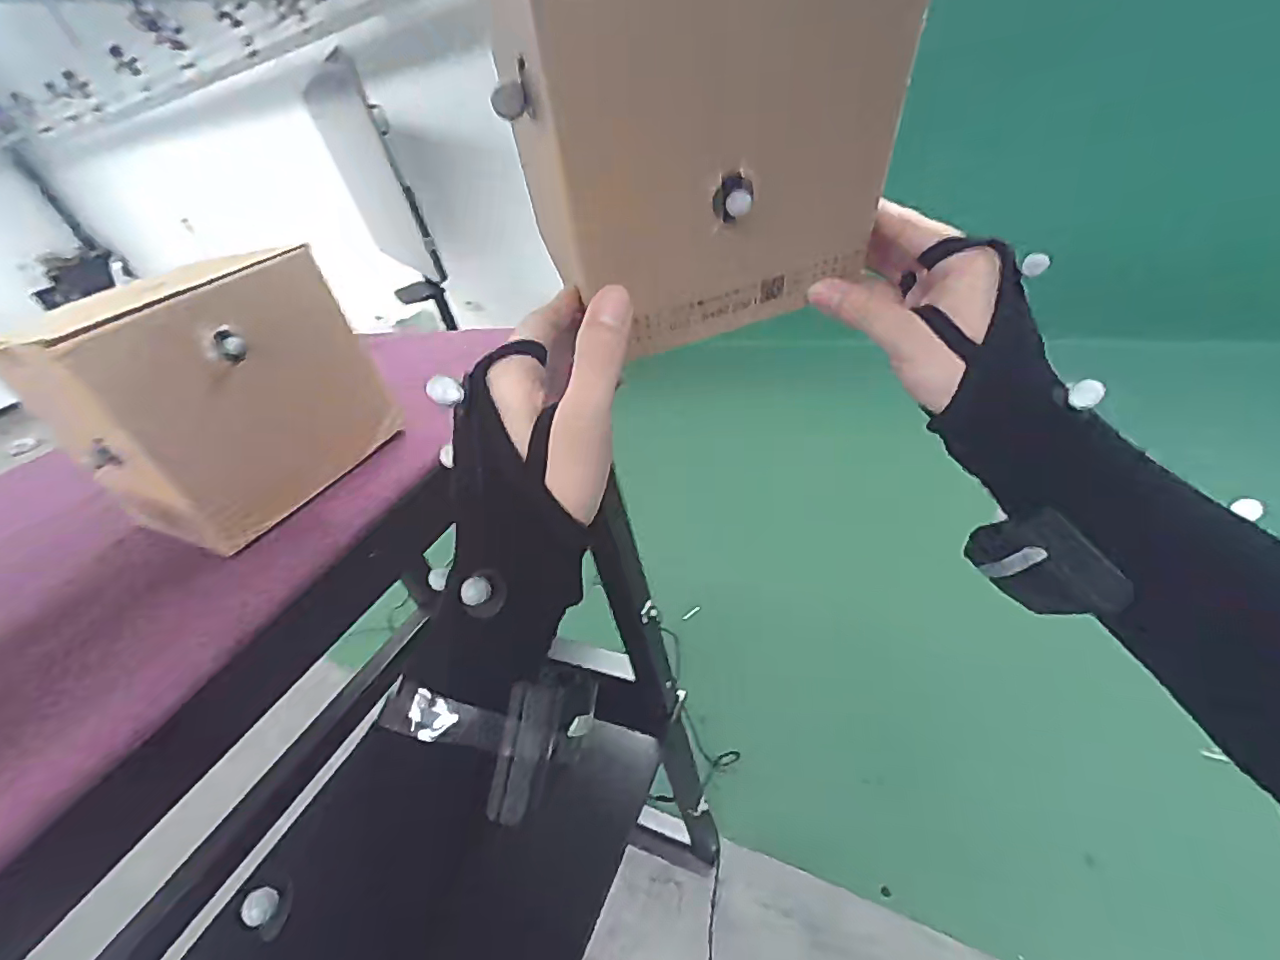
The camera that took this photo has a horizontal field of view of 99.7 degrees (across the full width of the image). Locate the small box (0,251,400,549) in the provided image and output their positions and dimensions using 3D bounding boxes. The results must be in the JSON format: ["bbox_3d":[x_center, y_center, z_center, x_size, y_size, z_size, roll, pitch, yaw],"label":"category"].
[{"bbox_3d":[-0.341,-0.067,0.444,0.168,0.176,0.179,8,42,30],"label":"small box"}]

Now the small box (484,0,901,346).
[{"bbox_3d":[0.021,-0.199,0.315,0.168,0.176,0.179,-18,53,-6],"label":"small box"}]
